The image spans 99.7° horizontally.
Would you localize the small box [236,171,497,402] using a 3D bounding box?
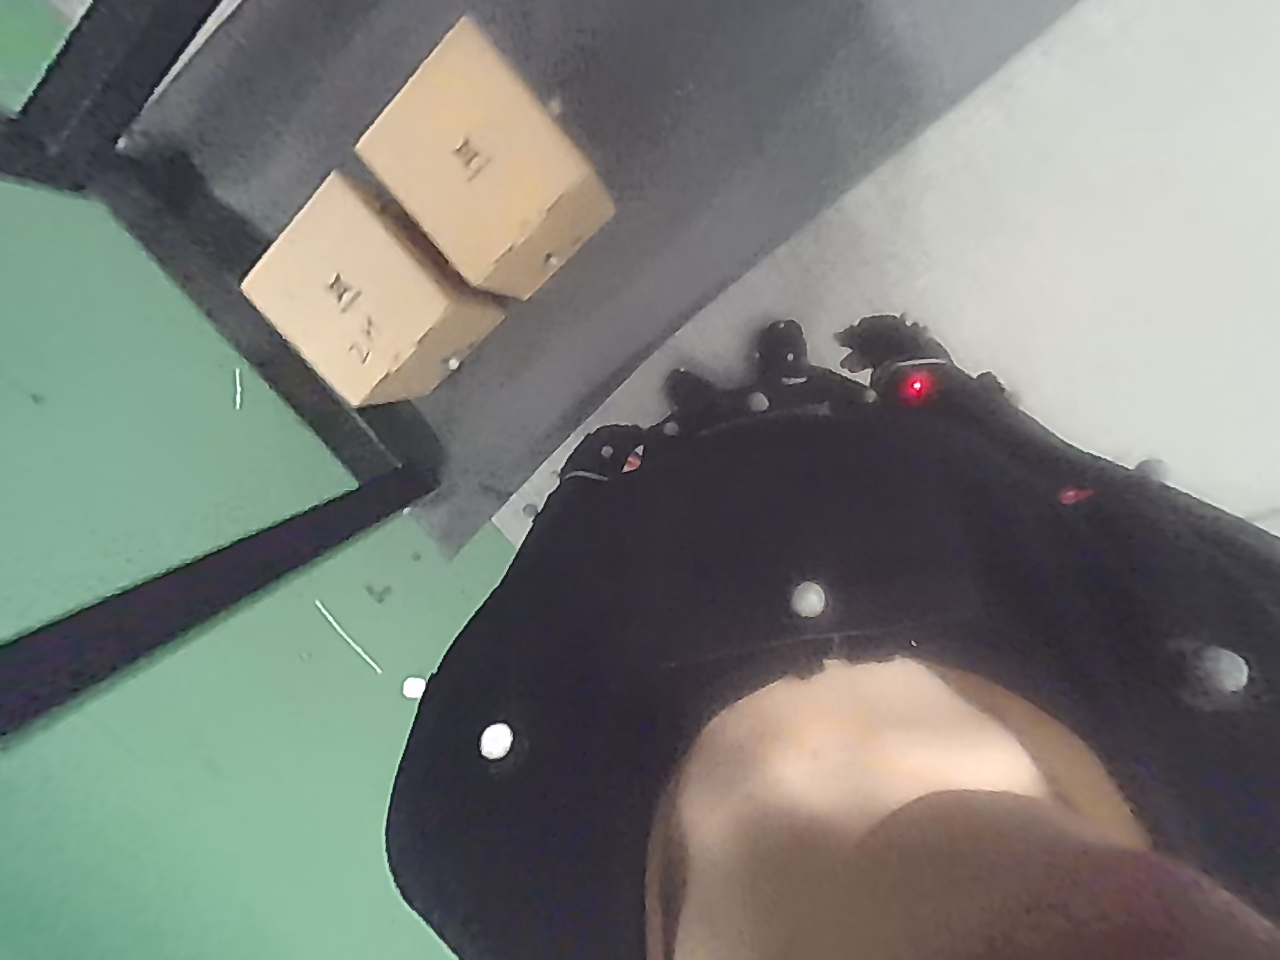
[{"bbox_3d":[-0.306,-0.214,0.642,0.168,0.176,0.179,-40,97,14],"label":"small box"}]
